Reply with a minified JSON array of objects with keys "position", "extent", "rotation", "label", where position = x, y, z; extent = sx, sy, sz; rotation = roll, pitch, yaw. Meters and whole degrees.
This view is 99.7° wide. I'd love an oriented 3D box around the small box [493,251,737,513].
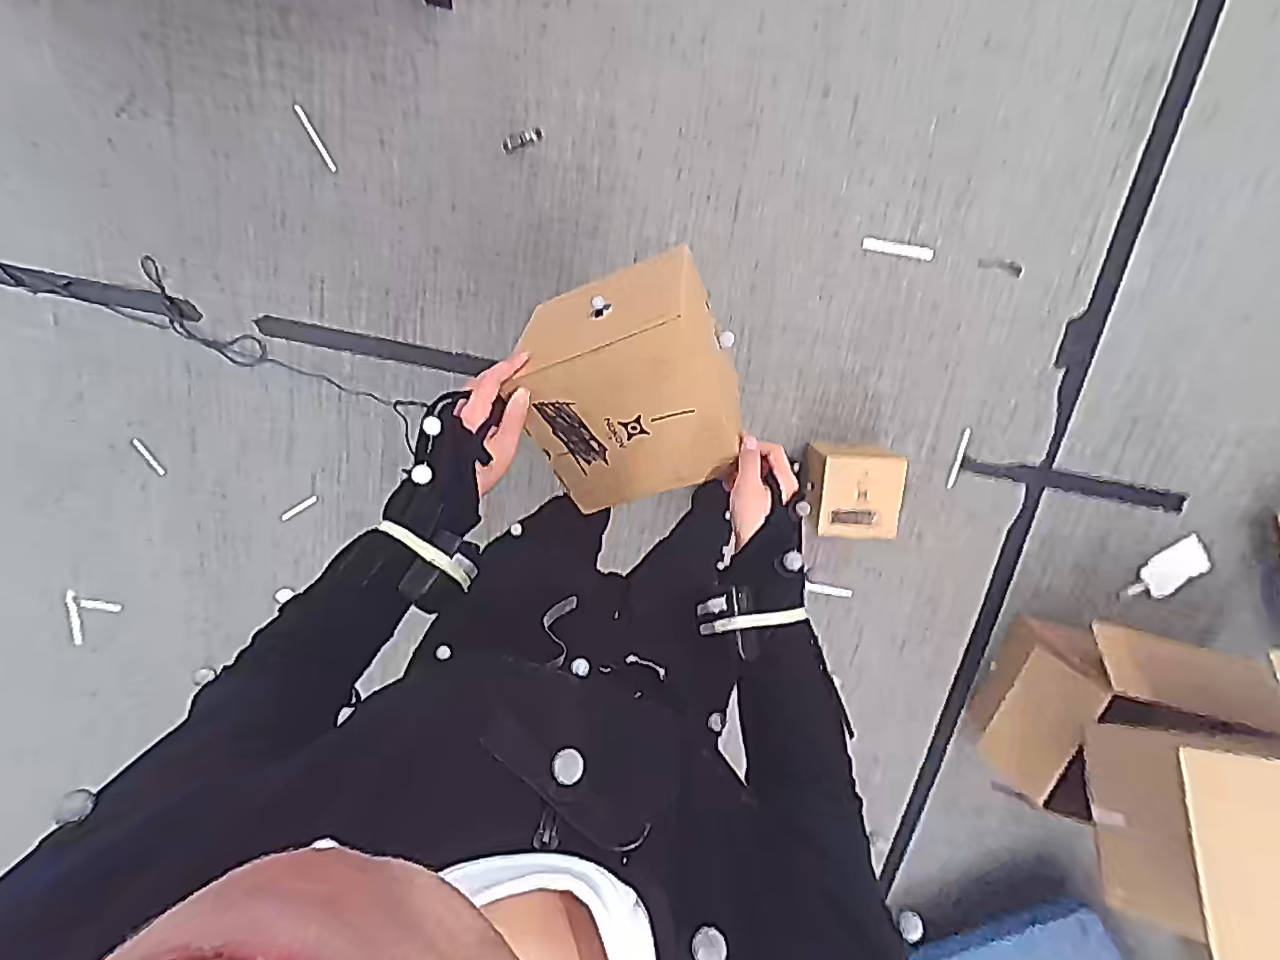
[{"position":[-0.011,-0.098,0.542],"extent":[0.179,0.176,0.168],"rotation":[-16,128,19],"label":"small box"}]
